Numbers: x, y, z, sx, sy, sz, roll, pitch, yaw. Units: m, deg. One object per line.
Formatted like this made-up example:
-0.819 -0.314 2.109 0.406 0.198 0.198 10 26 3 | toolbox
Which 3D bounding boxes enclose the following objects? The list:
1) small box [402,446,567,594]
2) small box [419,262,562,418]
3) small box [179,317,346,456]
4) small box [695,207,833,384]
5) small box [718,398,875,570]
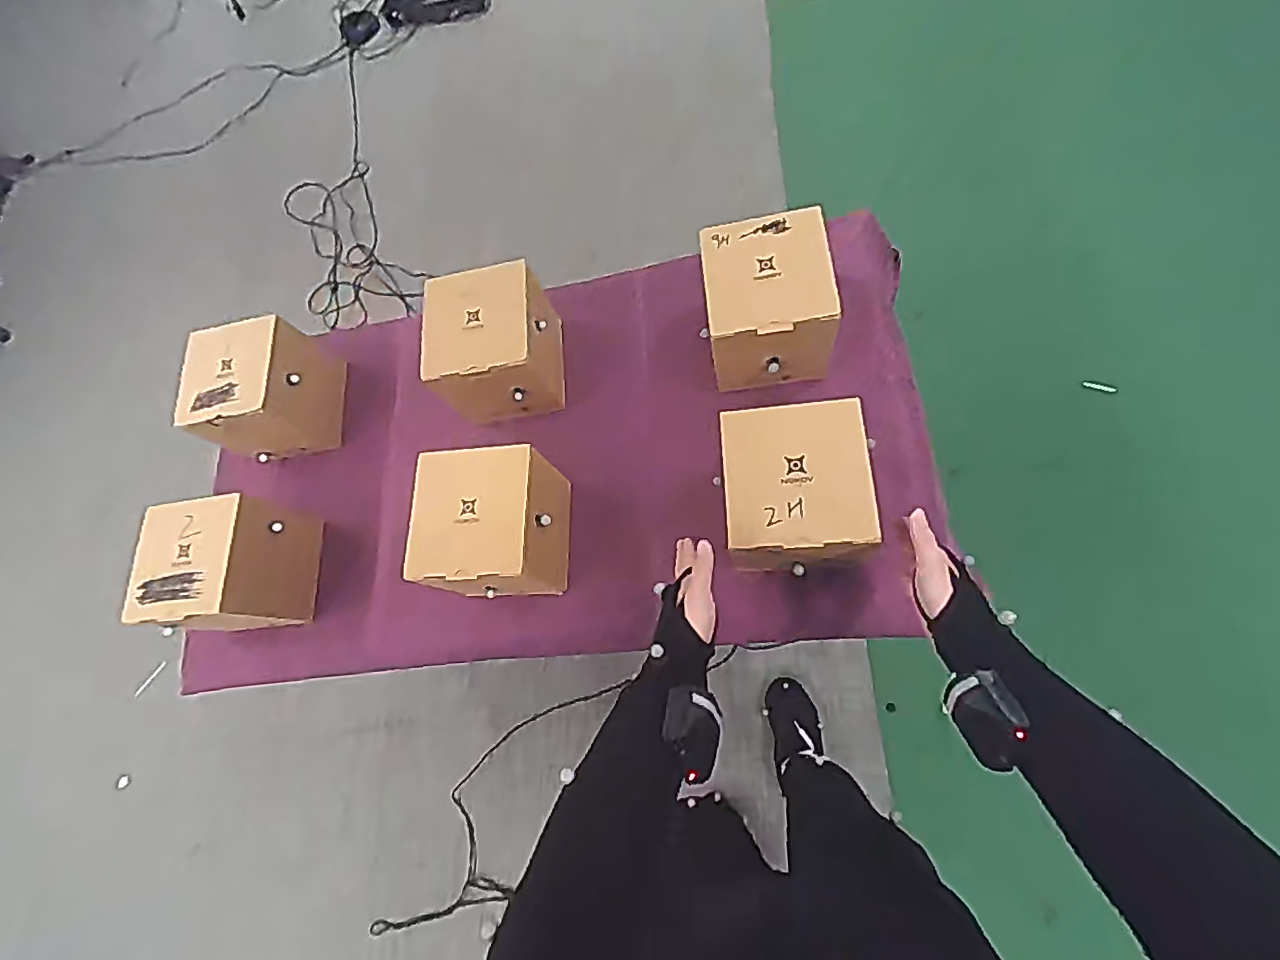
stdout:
-0.210 0.065 0.779 0.168 0.176 0.179 -4 72 11 | small box
-0.230 -0.210 0.867 0.168 0.176 0.179 -8 72 10 | small box
-0.642 -0.149 0.939 0.168 0.176 0.179 -10 72 10 | small box
0.177 -0.252 0.787 0.168 0.176 0.179 -7 73 11 | small box
0.192 0.015 0.699 0.168 0.176 0.179 -5 72 13 | small box
